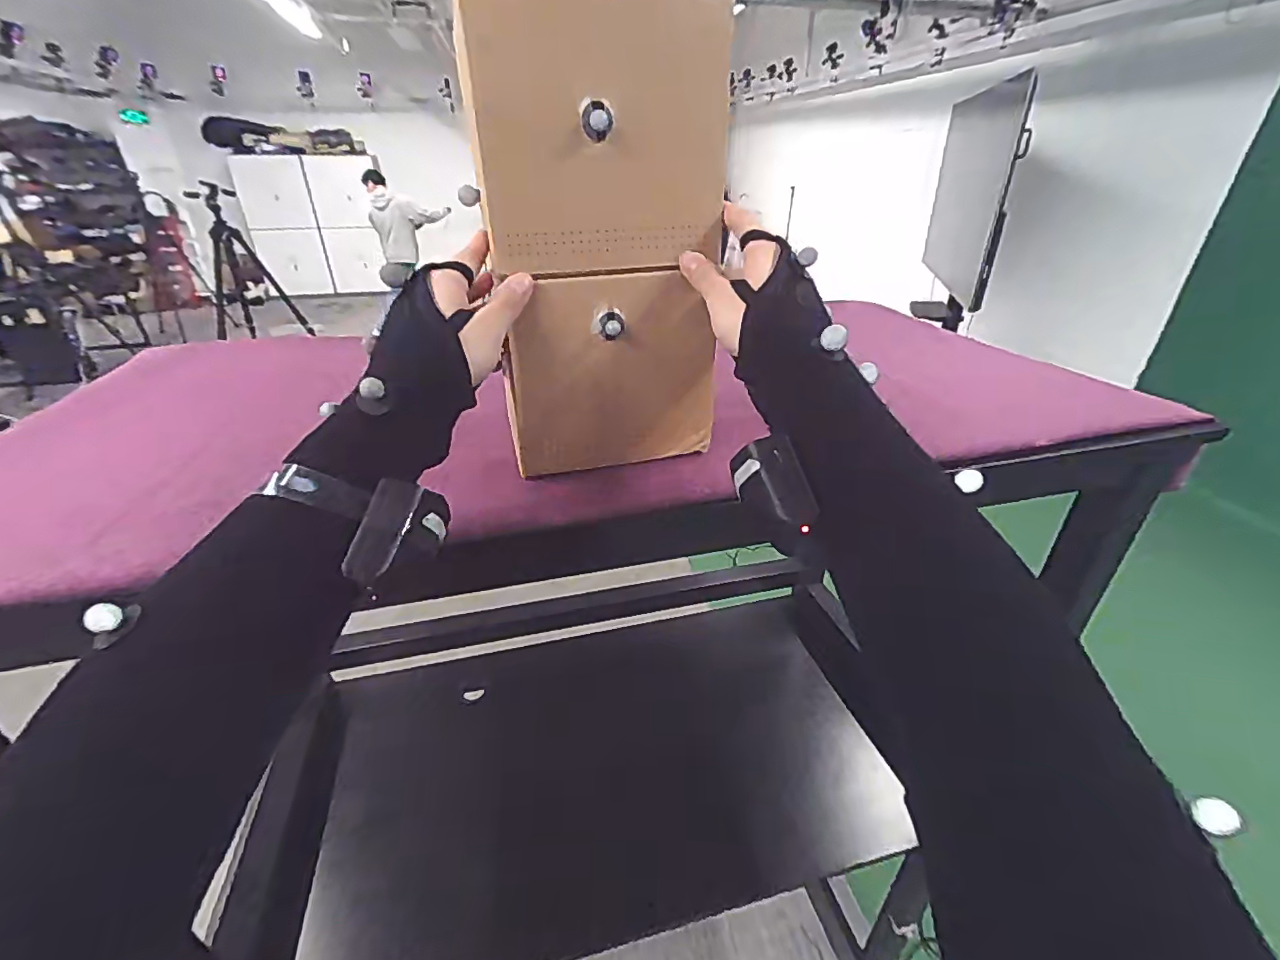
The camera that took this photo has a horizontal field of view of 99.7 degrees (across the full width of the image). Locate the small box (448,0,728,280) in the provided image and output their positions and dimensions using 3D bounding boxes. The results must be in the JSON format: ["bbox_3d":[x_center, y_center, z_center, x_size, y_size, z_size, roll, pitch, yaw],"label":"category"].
[{"bbox_3d":[-0.046,-0.261,0.432,0.179,0.176,0.168,-10,30,-13],"label":"small box"}]

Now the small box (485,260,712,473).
[{"bbox_3d":[-0.043,-0.118,0.511,0.179,0.176,0.168,-8,30,-13],"label":"small box"}]
